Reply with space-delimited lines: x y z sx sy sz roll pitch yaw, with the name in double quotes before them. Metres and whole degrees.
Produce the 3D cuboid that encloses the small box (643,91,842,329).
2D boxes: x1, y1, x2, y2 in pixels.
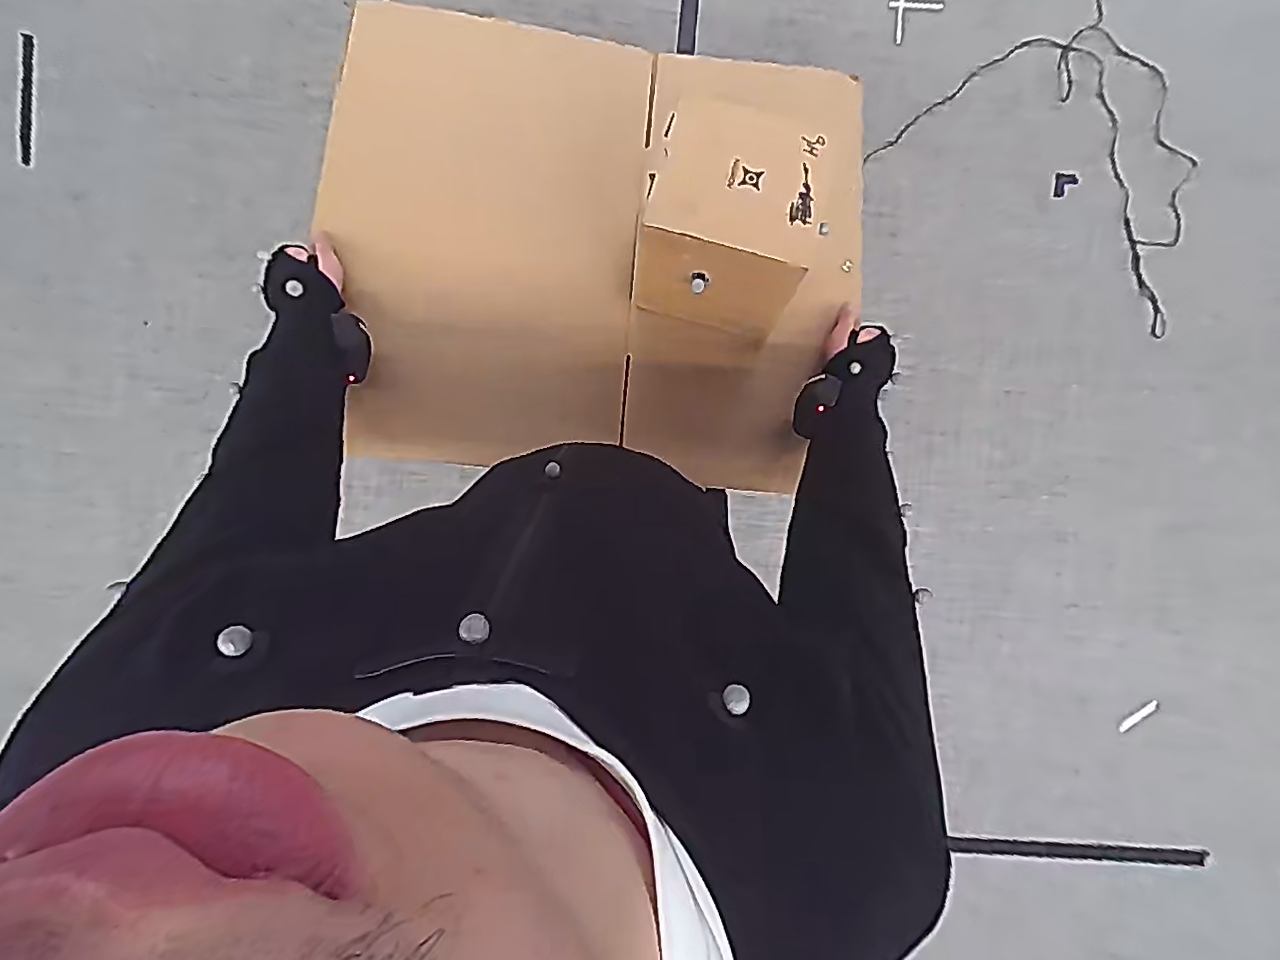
"small box" 0.106 -0.298 0.632 0.179 0.176 0.168 15 81 2
